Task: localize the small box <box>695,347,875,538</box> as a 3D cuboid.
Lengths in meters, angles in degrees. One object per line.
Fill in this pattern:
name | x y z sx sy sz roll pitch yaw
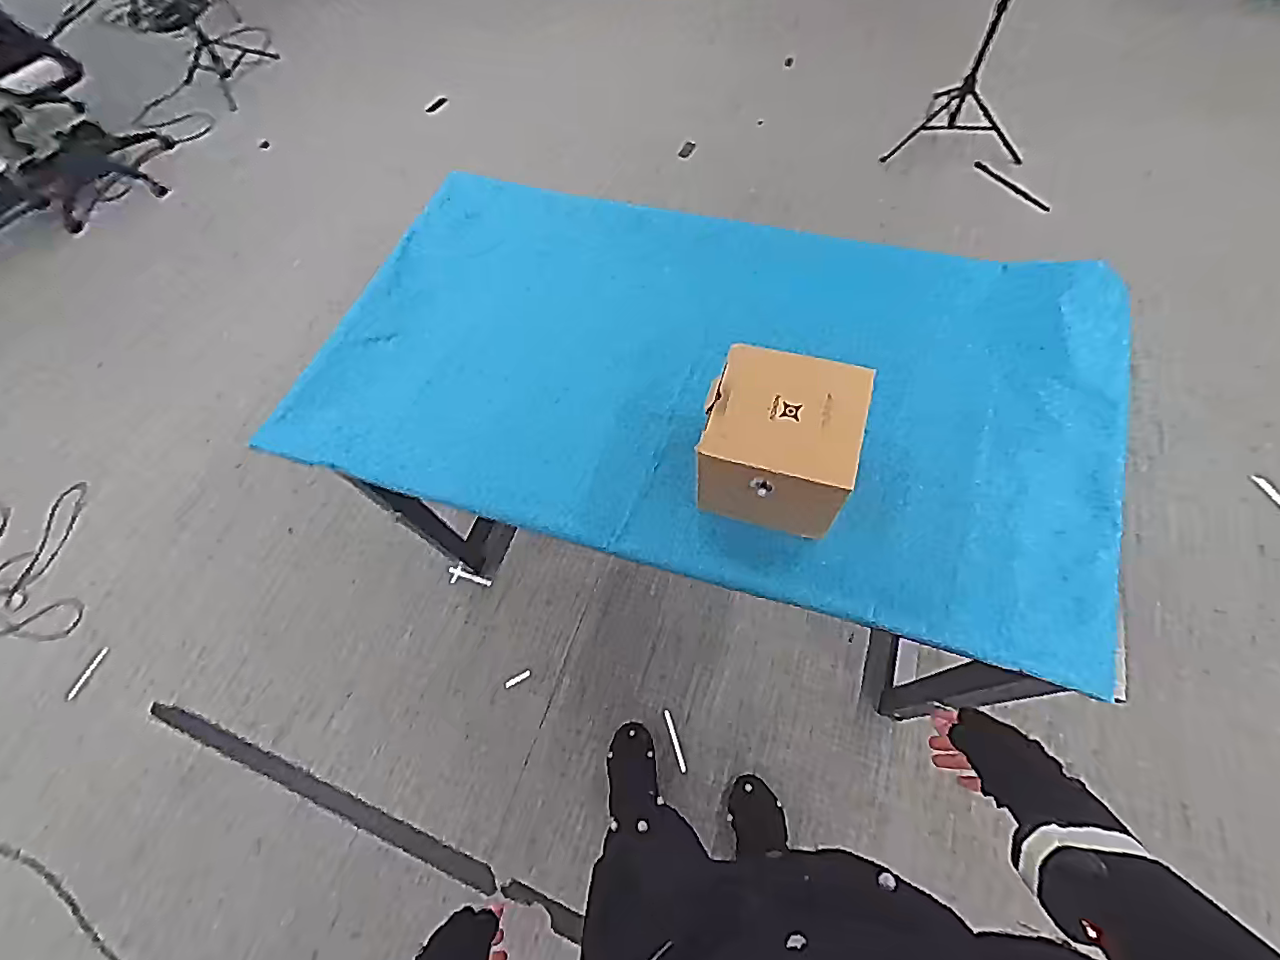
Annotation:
small box | 0.178 -0.041 0.696 0.179 0.176 0.168 15 67 13
